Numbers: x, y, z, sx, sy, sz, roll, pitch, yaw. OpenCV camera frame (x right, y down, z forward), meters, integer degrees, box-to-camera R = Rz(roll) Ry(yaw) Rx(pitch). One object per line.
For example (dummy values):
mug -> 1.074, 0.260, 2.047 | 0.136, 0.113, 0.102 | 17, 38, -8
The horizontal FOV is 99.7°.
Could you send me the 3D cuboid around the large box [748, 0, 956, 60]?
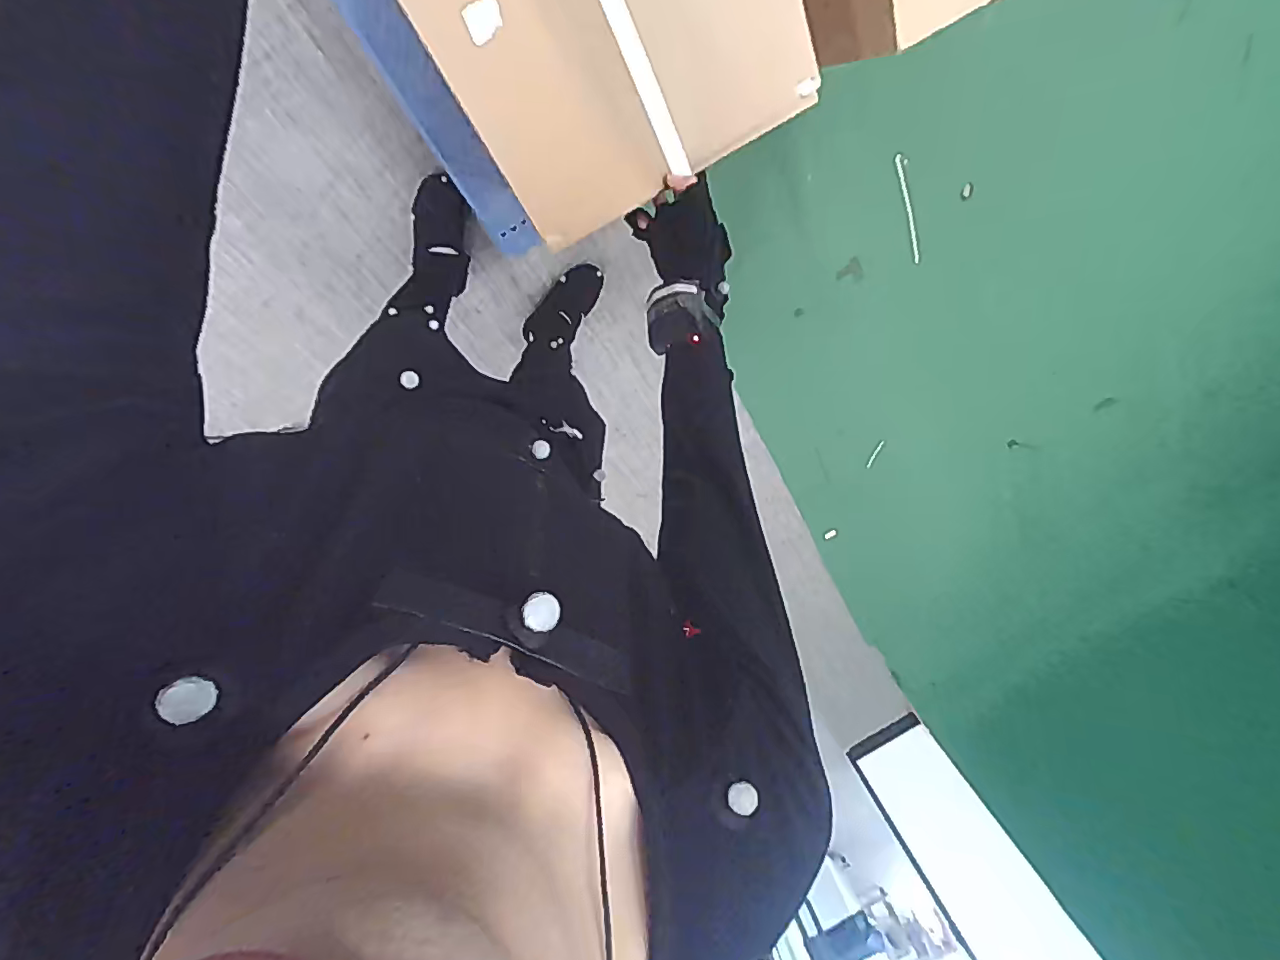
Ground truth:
large box -> 0.265, -0.735, 0.540 | 0.320, 0.320, 0.408 | -29, 127, 1
